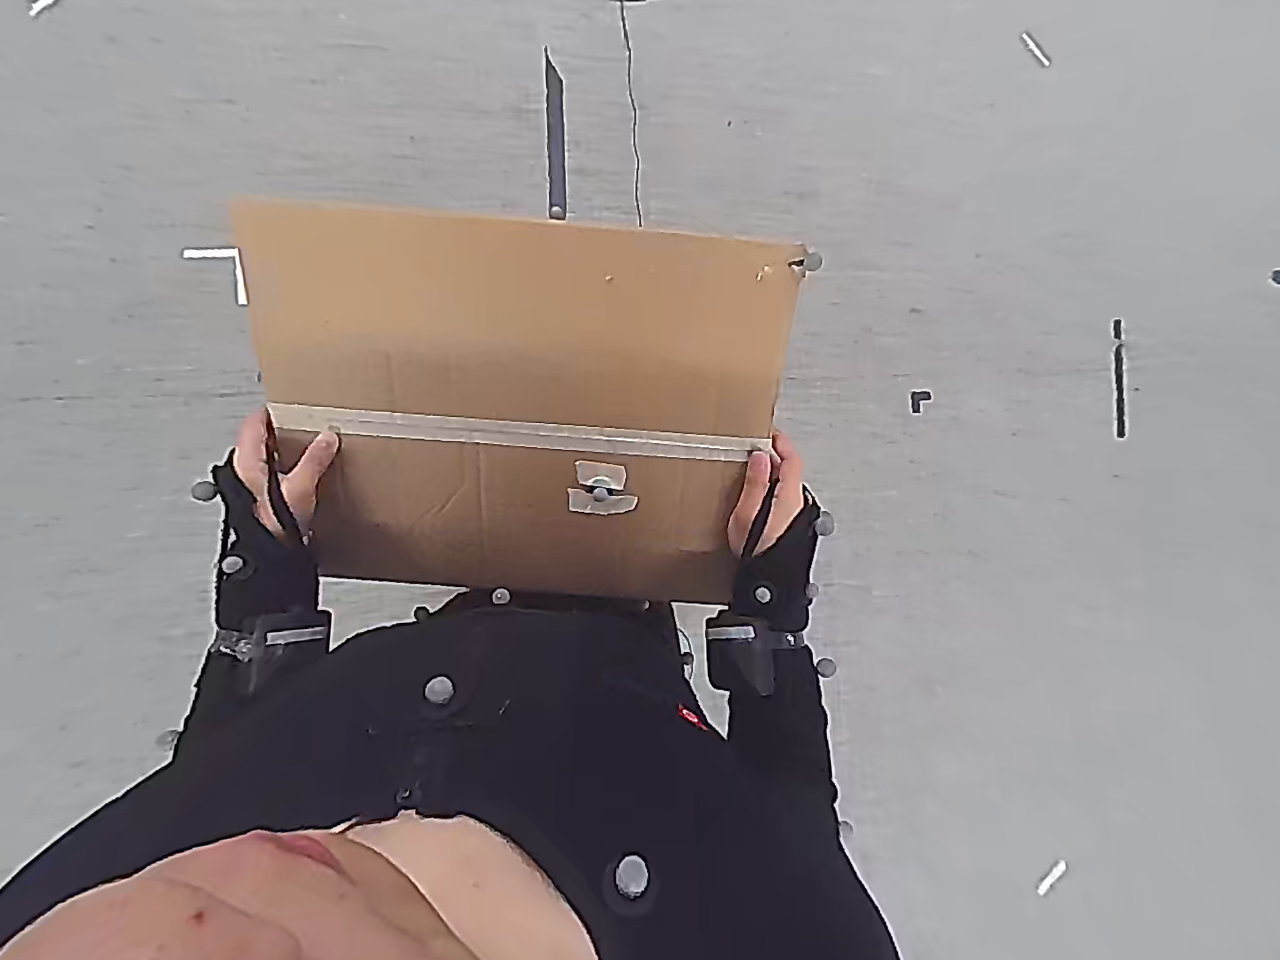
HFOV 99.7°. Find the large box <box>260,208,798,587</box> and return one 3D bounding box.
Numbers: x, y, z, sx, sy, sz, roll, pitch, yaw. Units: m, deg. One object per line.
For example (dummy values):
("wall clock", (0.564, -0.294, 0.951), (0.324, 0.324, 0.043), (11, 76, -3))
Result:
("large box", (-0.091, -0.104, 0.591), (0.408, 0.320, 0.320), (3, 114, -2))
